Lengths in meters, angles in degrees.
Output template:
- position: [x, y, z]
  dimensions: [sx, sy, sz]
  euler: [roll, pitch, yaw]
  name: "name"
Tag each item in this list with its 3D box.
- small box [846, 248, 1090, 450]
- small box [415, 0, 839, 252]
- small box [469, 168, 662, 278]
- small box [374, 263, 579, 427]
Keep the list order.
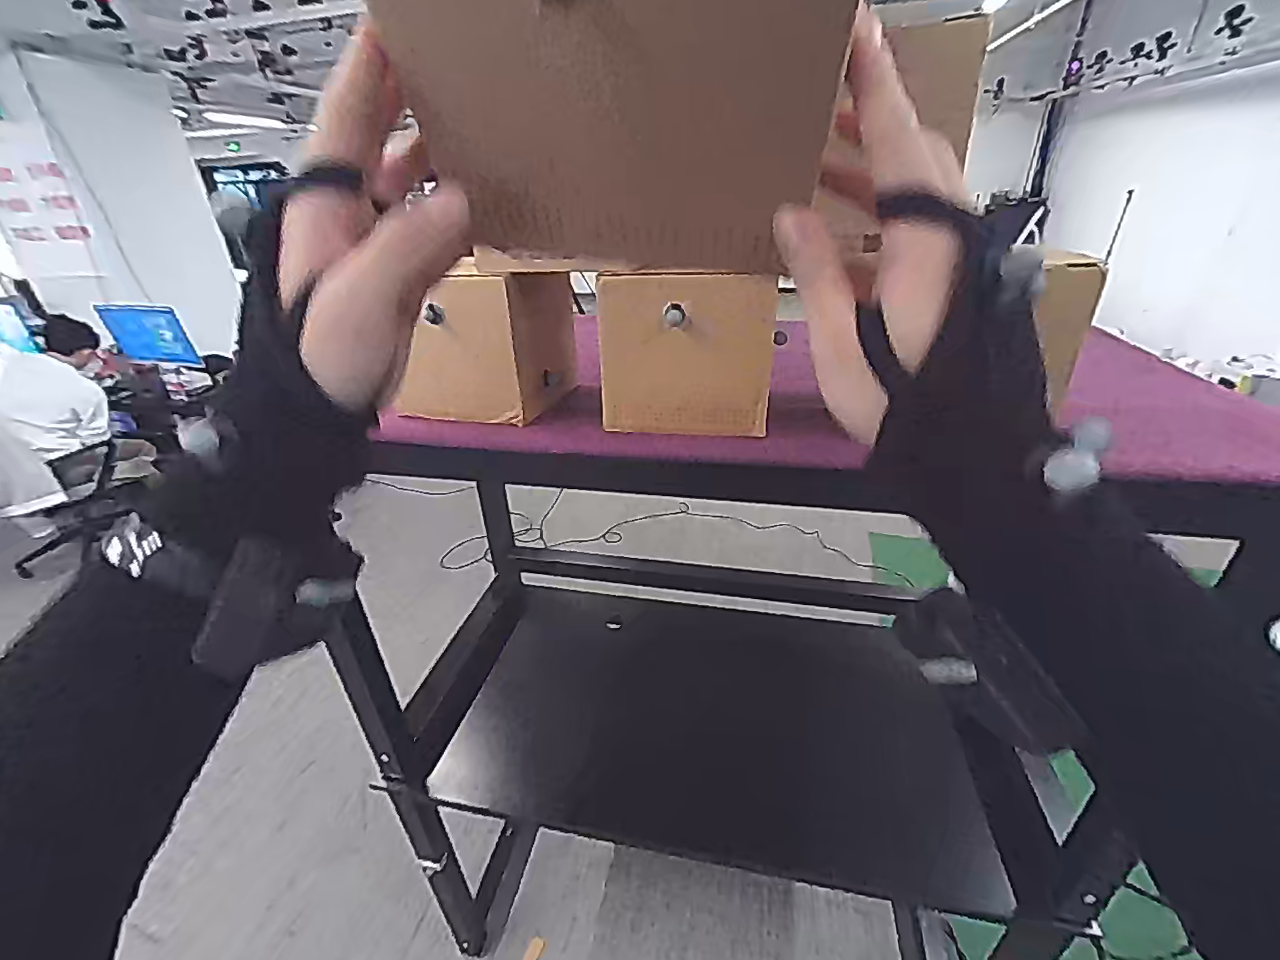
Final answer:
- position: [0.316, -0.141, 0.567]
  dimensions: [0.168, 0.176, 0.179]
  euler: [5, 29, 14]
  name: "small box"
- position: [0.004, -0.234, 0.256]
  dimensions: [0.179, 0.176, 0.168]
  euler: [10, 66, 9]
  name: "small box"
- position: [-0.069, -0.316, 0.586]
  dimensions: [0.168, 0.176, 0.179]
  euler: [4, 27, 12]
  name: "small box"
- position: [-0.189, -0.174, 0.678]
  dimensions: [0.179, 0.176, 0.168]
  euler: [7, 29, 16]
  name: "small box"
